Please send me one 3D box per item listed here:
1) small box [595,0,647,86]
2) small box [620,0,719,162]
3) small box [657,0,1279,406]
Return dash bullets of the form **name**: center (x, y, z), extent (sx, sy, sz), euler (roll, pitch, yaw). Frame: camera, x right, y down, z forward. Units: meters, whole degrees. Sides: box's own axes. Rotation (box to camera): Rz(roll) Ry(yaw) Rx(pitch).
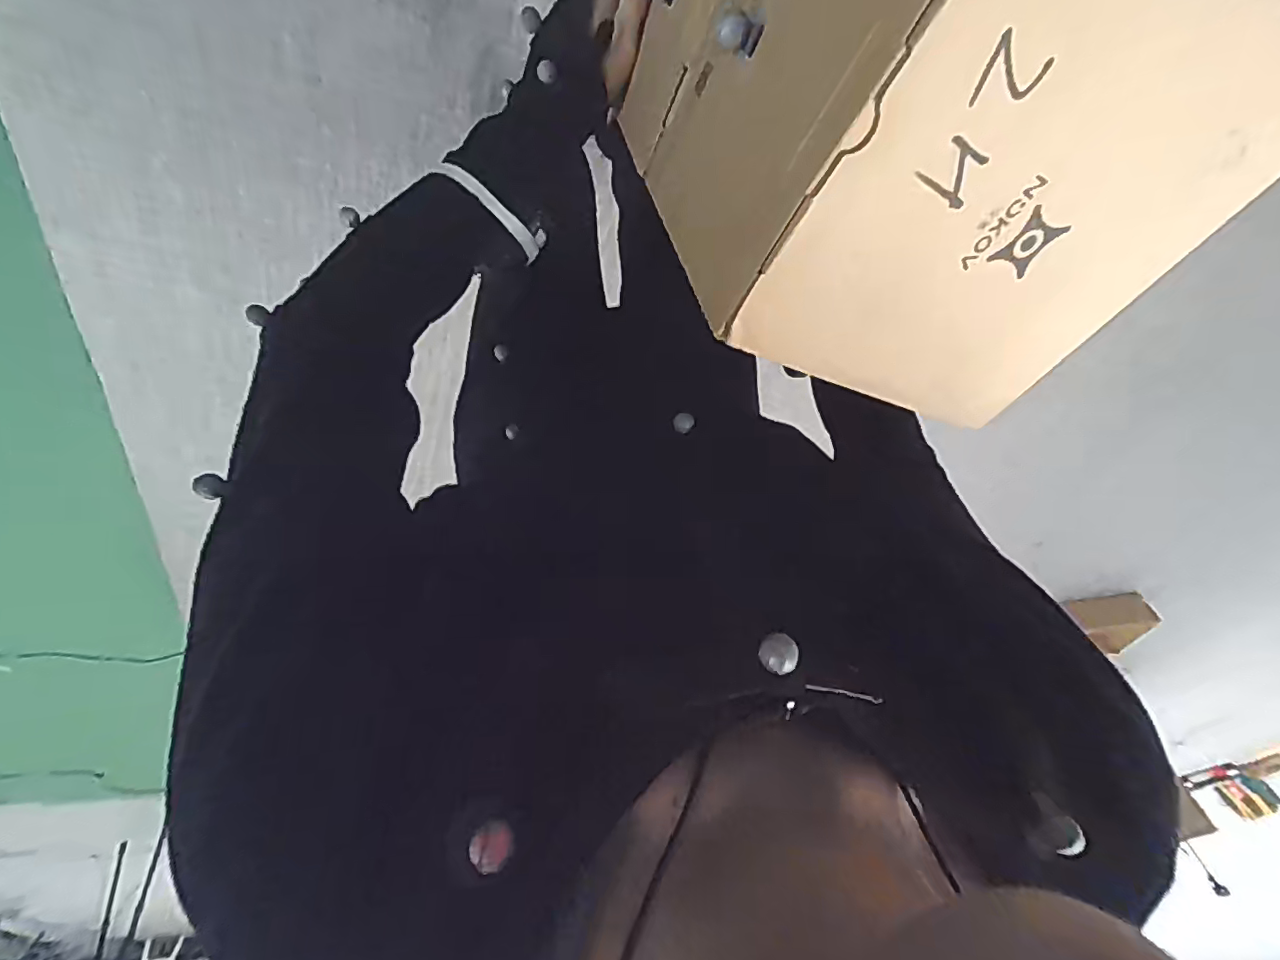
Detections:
- **small box**: center (0.073, -0.416, 0.467), extent (0.179, 0.176, 0.168), euler (12, 134, -23)
- **small box**: center (0.098, -0.291, 0.364), extent (0.179, 0.176, 0.168), euler (12, 134, -24)
- **small box**: center (0.129, -0.167, 0.259), extent (0.179, 0.176, 0.168), euler (12, 133, -25)
